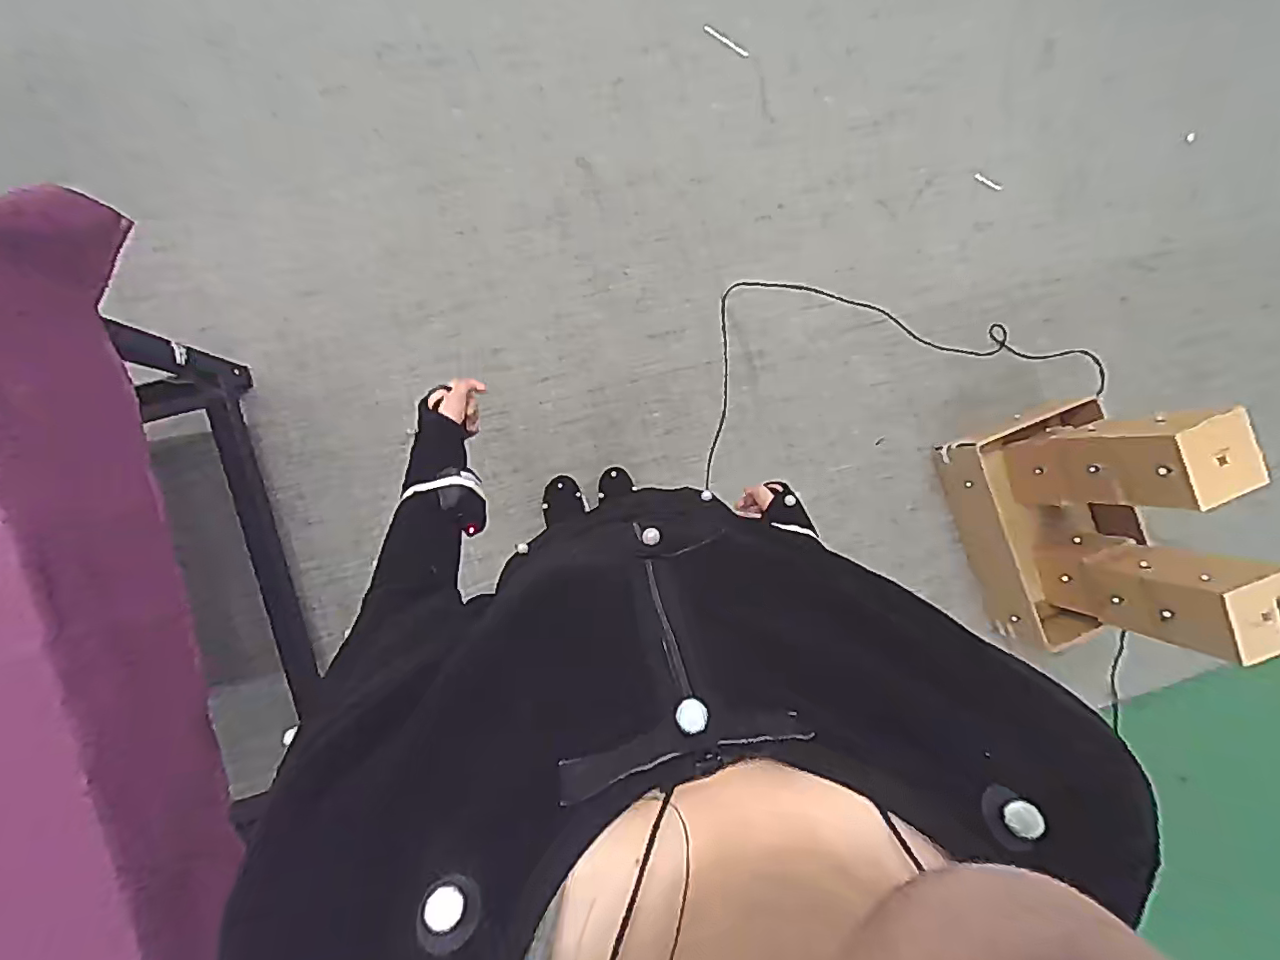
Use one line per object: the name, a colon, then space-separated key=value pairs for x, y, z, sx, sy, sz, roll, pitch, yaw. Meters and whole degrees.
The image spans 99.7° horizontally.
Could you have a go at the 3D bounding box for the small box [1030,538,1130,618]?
small box: x=1.256 y=0.270 z=1.532 sx=0.168 sy=0.176 sz=0.179 roll=-18 pitch=92 yaw=-6

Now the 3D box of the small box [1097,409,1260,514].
small box: x=1.176 y=-0.041 z=1.194 sx=0.168 sy=0.176 sz=0.179 roll=-22 pitch=92 yaw=-4

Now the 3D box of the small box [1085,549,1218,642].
small box: x=1.277 y=0.286 z=1.368 sx=0.179 sy=0.176 sz=0.168 roll=-18 pitch=93 yaw=-6

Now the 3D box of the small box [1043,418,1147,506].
small box: x=1.160 y=-0.043 z=1.356 sx=0.168 sy=0.176 sz=0.179 roll=-17 pitch=93 yaw=-4
